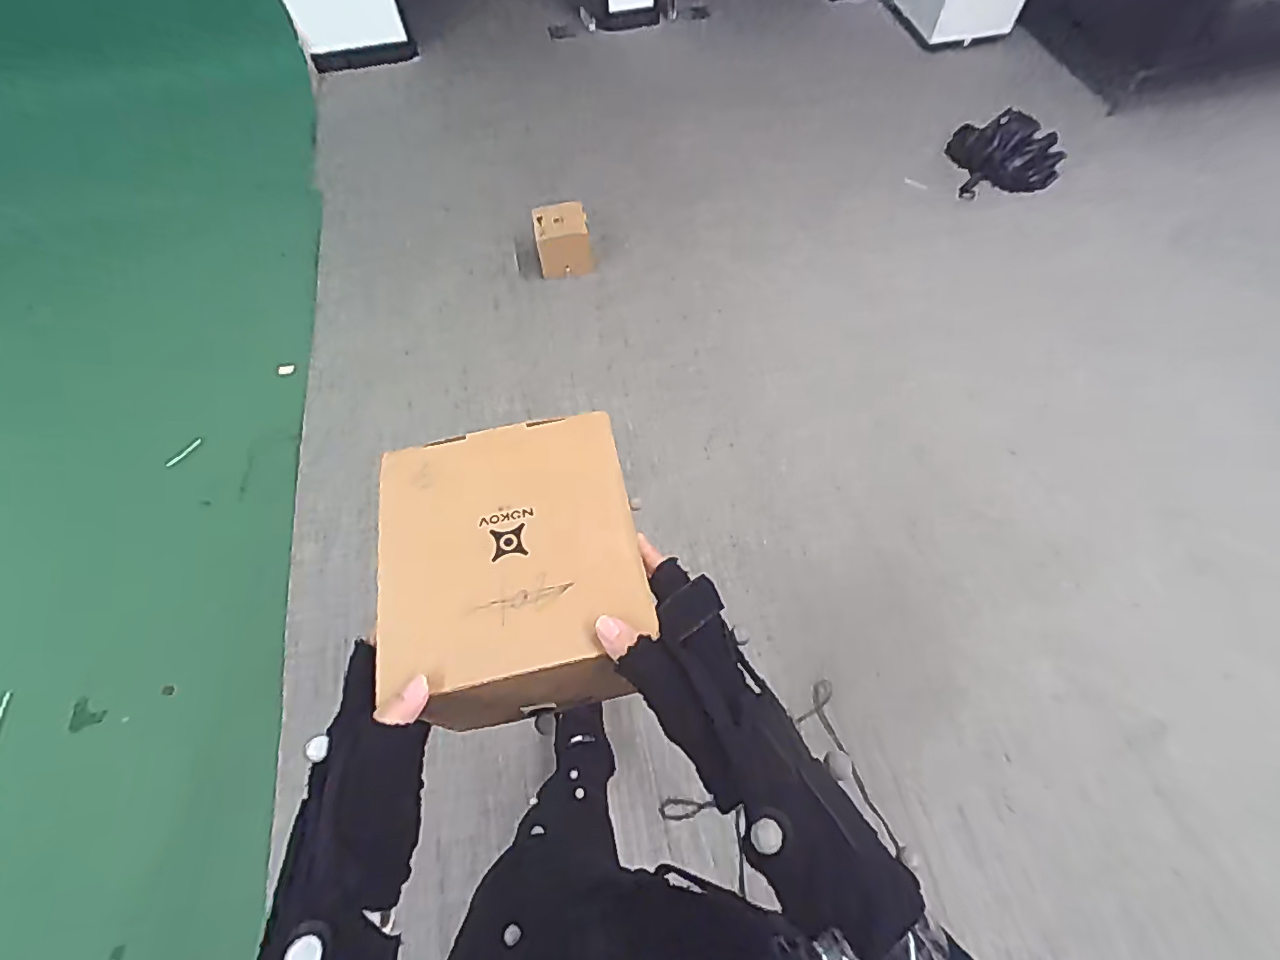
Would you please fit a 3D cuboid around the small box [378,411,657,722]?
[{"bbox_3d":[-0.086,0.074,0.427,0.168,0.176,0.179,-11,61,-5],"label":"small box"}]

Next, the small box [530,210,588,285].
[{"bbox_3d":[-0.279,-0.813,1.898,0.179,0.176,0.168,-10,62,-4],"label":"small box"}]
